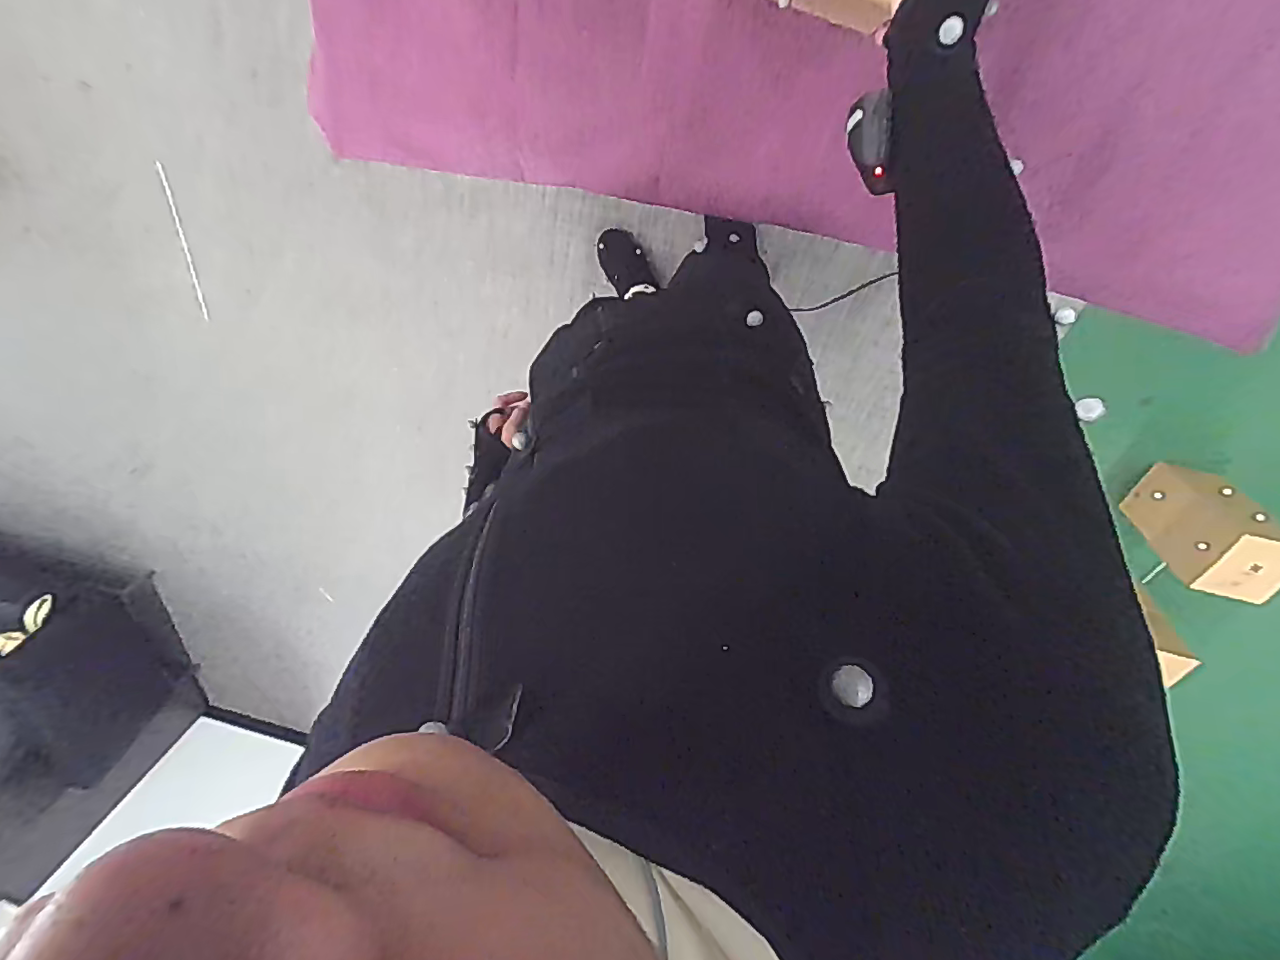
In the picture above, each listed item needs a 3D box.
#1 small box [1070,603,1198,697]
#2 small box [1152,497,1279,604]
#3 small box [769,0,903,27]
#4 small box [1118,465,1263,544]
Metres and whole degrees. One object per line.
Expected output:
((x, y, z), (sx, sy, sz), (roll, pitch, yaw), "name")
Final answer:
((1.375, 0.472, 1.525), (0.179, 0.176, 0.168), (15, 126, 4), "small box")
((1.416, 0.165, 1.309), (0.168, 0.176, 0.179), (14, 125, 4), "small box")
((0.167, -0.516, 0.457), (0.179, 0.176, 0.168), (20, 125, 1), "small box")
((1.452, 0.079, 1.445), (0.179, 0.176, 0.168), (14, 125, 3), "small box")
